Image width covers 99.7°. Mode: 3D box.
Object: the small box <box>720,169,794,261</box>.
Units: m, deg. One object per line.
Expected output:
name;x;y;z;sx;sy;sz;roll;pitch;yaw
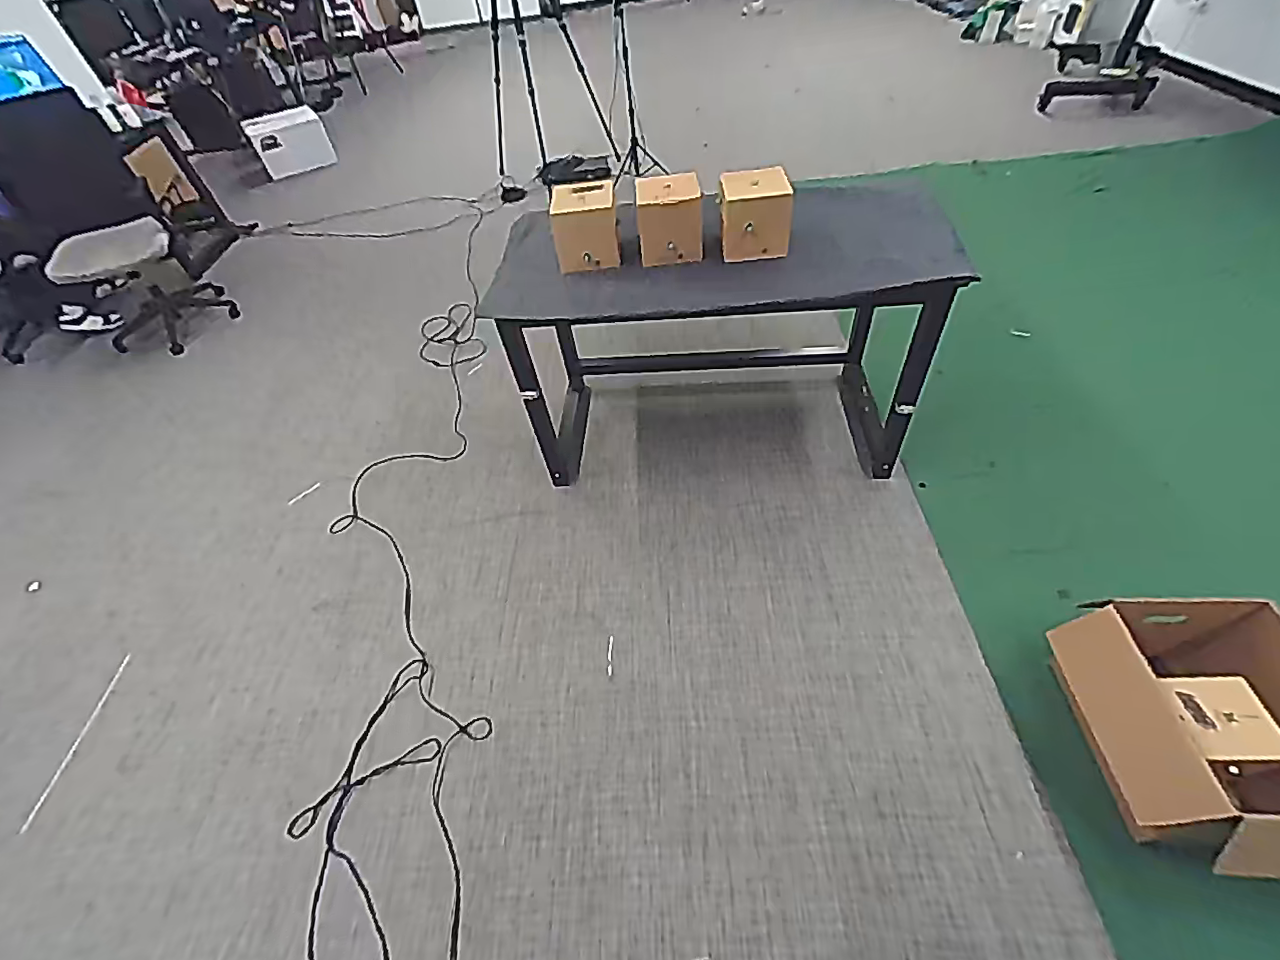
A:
small box;0.306;-0.697;1.438;0.168;0.176;0.179;-5;48;4

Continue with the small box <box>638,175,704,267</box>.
small box;0.084;-0.703;1.473;0.168;0.176;0.179;-5;49;4
